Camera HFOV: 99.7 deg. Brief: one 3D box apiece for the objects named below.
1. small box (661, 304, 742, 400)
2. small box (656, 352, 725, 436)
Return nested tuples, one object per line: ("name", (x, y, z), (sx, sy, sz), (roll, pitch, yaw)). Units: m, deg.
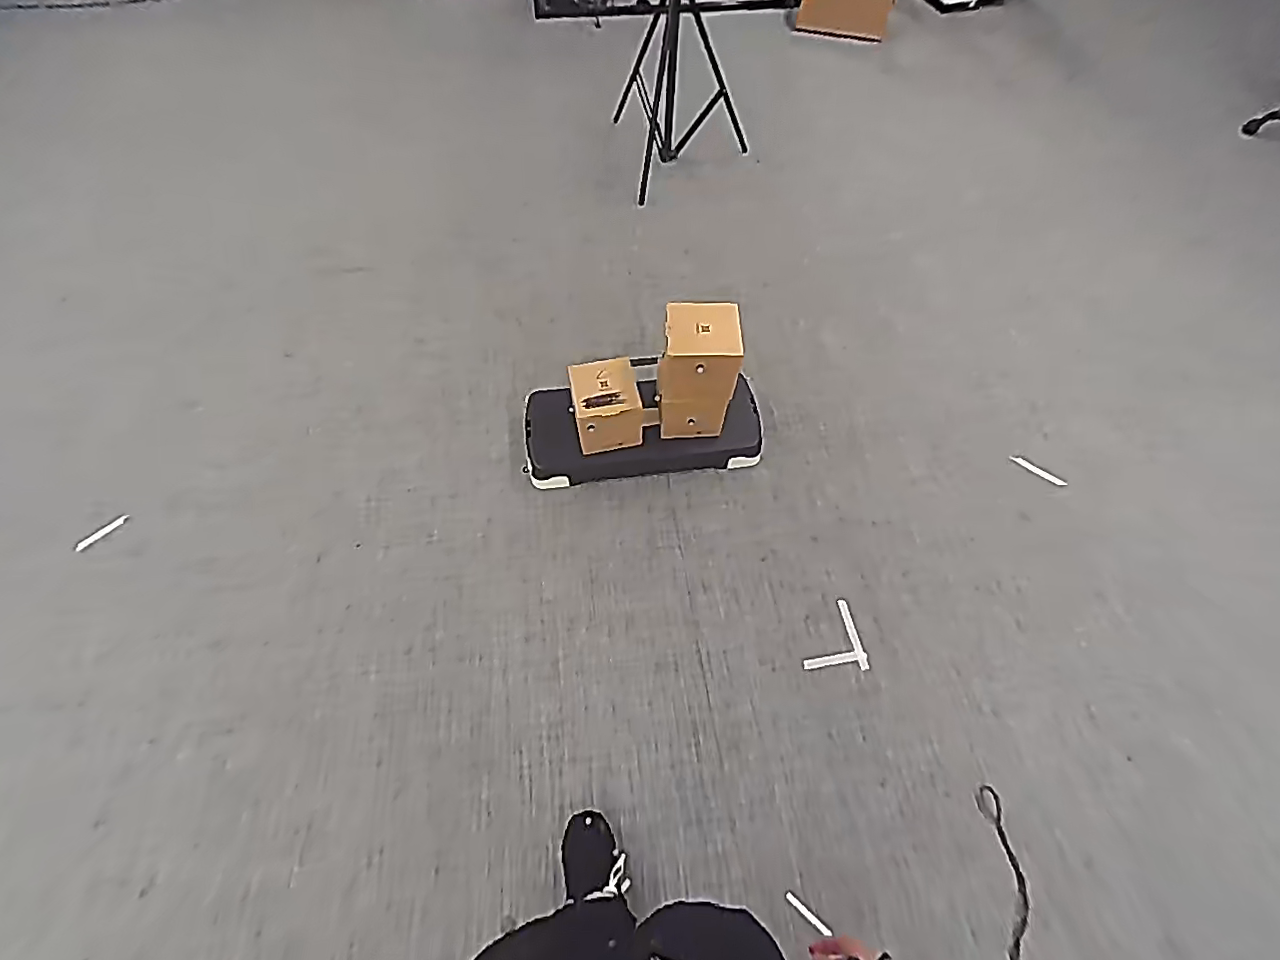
("small box", (0.144, -0.309, 1.326), (0.179, 0.176, 0.168), (-1, 62, 0))
("small box", (0.131, -0.229, 1.467), (0.168, 0.176, 0.179), (-3, 61, -3))
